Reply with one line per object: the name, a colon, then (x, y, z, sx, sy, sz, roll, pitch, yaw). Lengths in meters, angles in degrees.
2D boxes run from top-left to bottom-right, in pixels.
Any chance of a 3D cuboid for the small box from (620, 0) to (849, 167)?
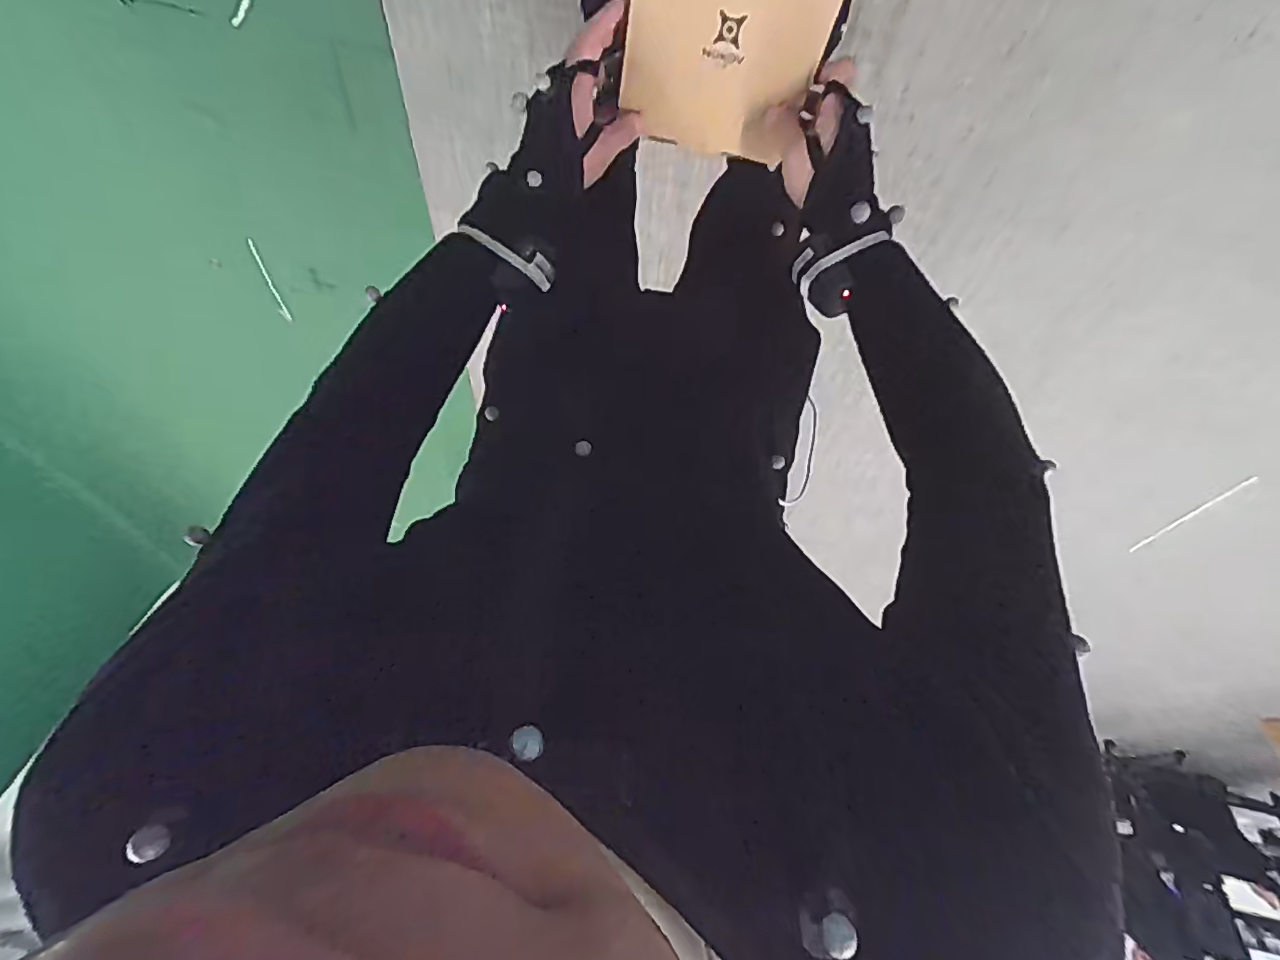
small box: (0.081, -0.435, 0.497, 0.168, 0.176, 0.179, 8, 148, -7)
